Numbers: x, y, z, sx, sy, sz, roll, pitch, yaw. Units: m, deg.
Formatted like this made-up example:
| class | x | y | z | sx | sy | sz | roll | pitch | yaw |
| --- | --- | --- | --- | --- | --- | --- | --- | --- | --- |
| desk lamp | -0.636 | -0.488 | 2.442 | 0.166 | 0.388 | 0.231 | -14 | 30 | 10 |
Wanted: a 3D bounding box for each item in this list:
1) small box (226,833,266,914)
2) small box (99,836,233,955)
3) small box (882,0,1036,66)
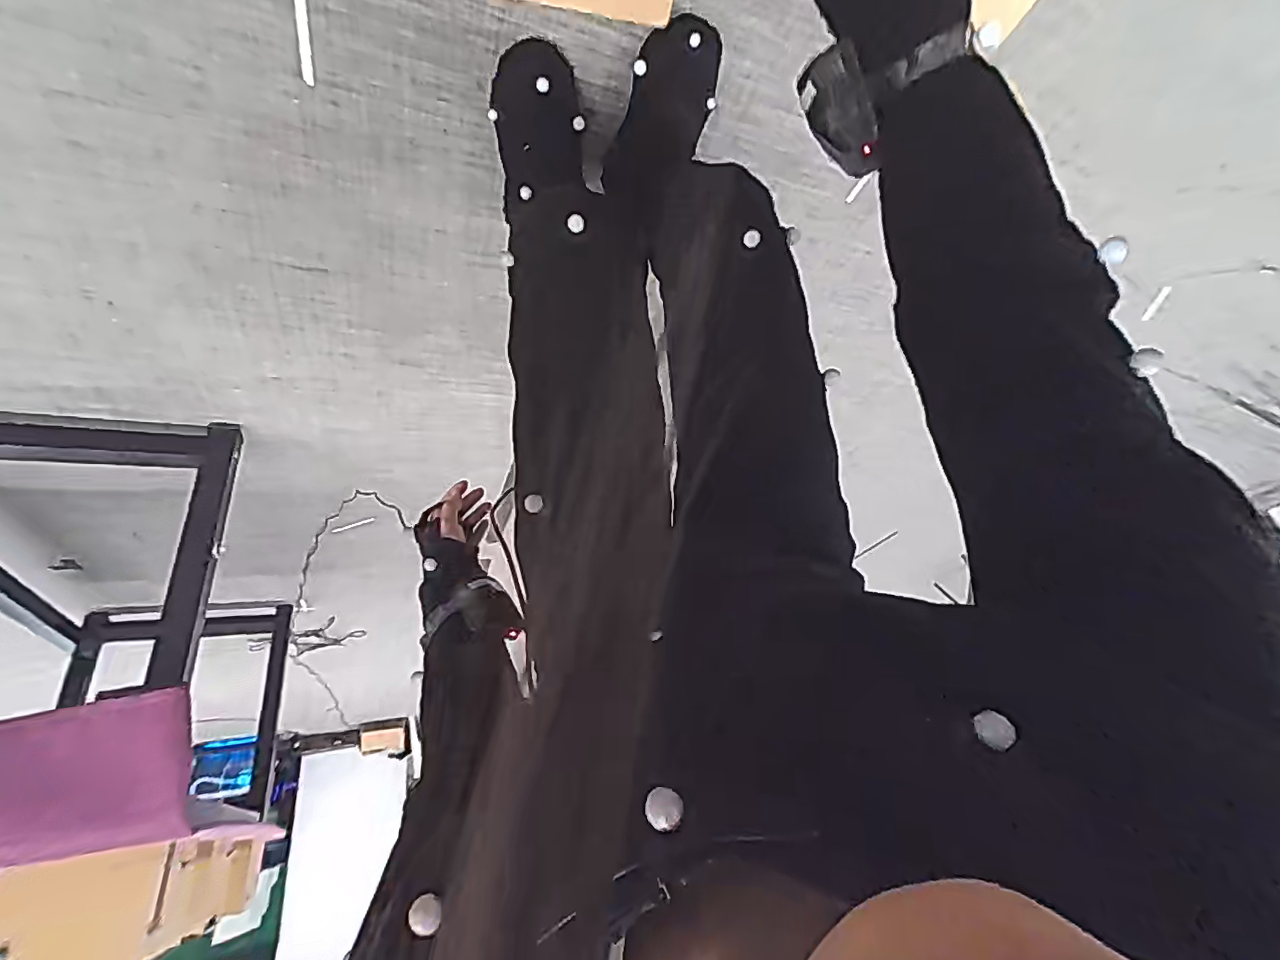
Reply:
| class | x | y | z | sx | sy | sz | roll | pitch | yaw |
| --- | --- | --- | --- | --- | --- | --- | --- | --- | --- |
| small box | -1.126 | 1.062 | 1.452 | 0.168 | 0.176 | 0.179 | 1 | 149 | -23 |
| small box | -1.024 | 0.899 | 1.190 | 0.179 | 0.176 | 0.168 | 1 | 149 | -22 |
| small box | 0.330 | -0.582 | 0.550 | 0.179 | 0.176 | 0.168 | 4 | 148 | -28 |
